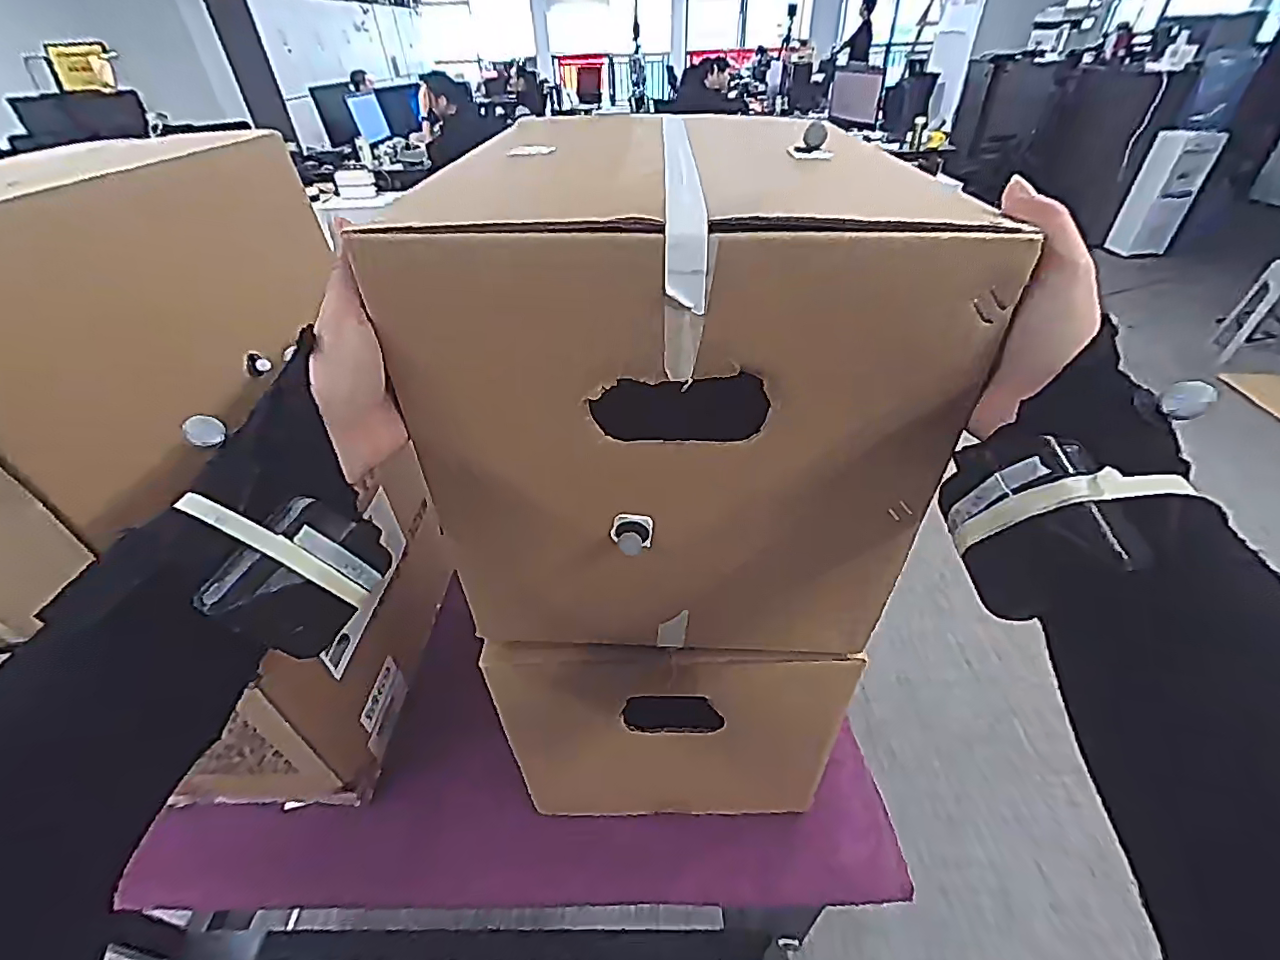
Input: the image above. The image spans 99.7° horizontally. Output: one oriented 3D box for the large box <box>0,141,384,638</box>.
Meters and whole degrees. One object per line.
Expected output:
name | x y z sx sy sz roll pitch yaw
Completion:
large box | -0.517 -0.106 0.522 0.320 0.320 0.408 -4 39 5
